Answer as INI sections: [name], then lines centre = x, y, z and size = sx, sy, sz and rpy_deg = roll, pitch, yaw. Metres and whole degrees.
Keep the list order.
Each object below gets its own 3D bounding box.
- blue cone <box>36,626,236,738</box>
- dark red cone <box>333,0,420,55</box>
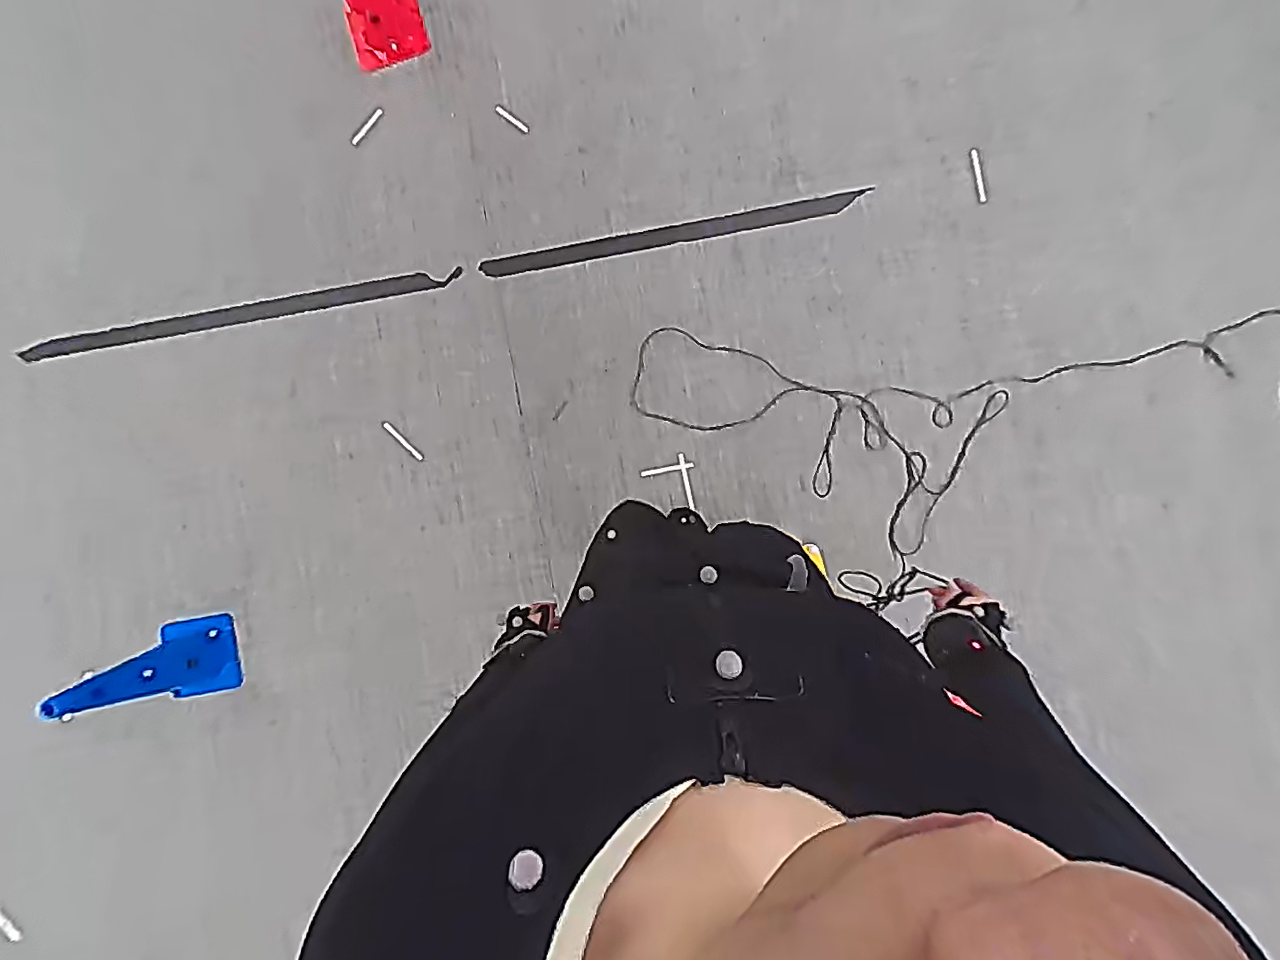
[blue cone]
centre = -1.161, 0.479, 1.243
size = 0.193, 0.380, 0.192
rpy_deg = -9, 89, 2
[dark red cone]
centre = -0.692, -1.218, 1.241
size = 0.202, 0.394, 0.201
rpy_deg = -18, 89, 2
